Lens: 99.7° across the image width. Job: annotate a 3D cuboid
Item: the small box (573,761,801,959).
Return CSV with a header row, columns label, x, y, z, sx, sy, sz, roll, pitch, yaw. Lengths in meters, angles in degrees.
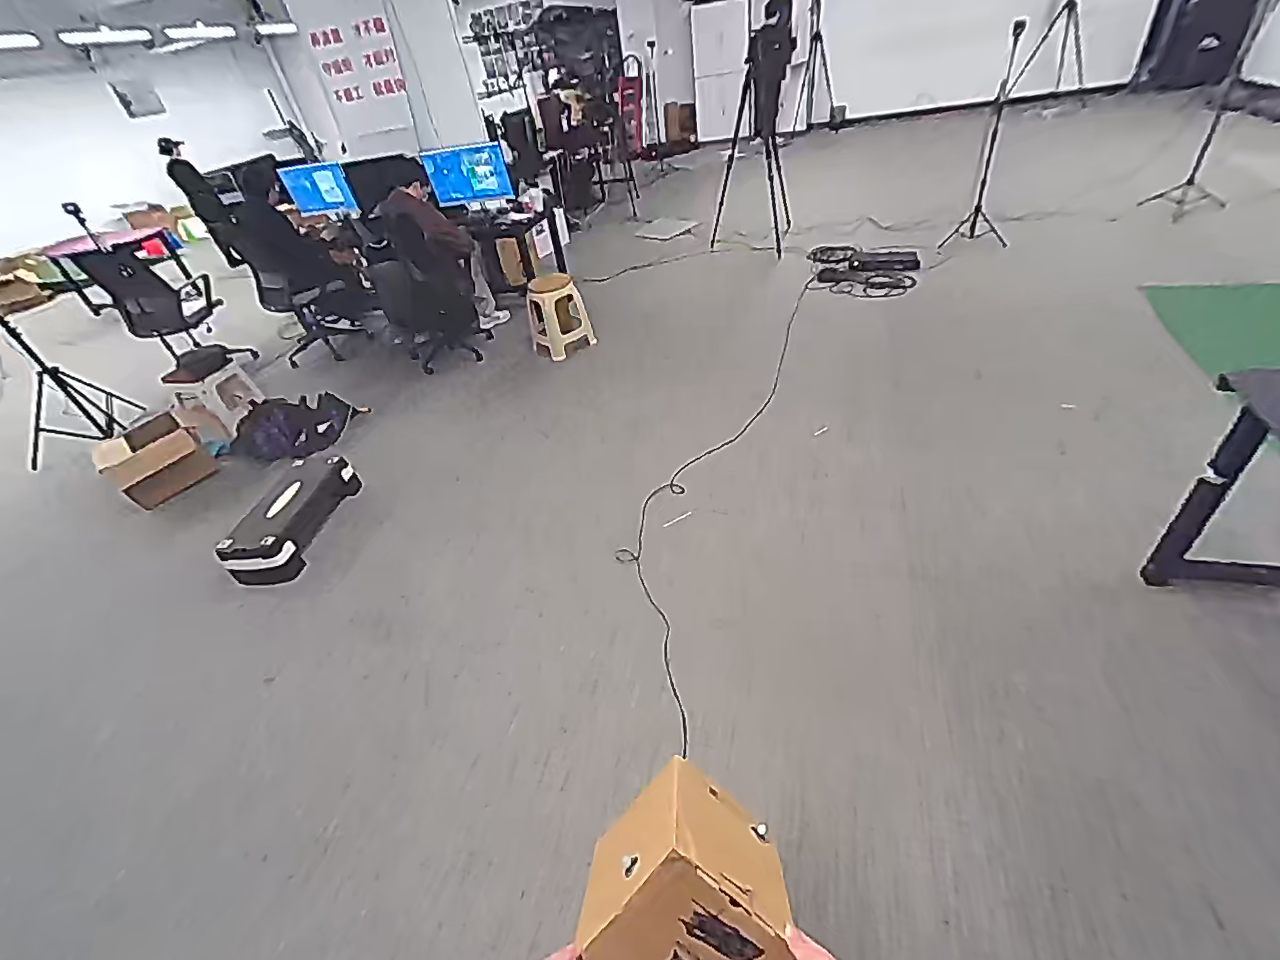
label,x,y,z,sx,sy,sz,roll,pitch,yaw
small box,0.048,0.470,0.619,0.168,0.176,0.179,38,94,1
